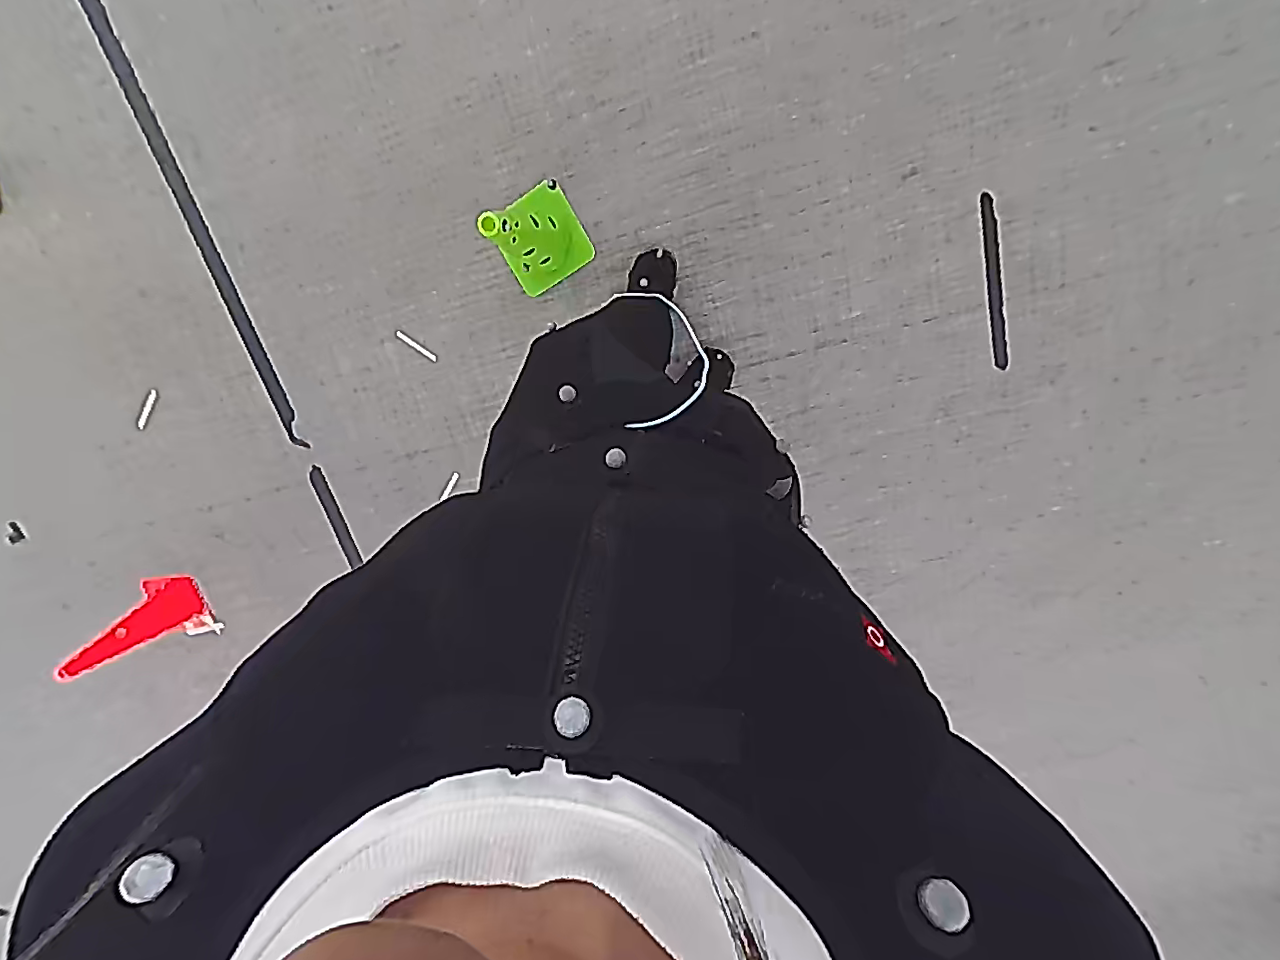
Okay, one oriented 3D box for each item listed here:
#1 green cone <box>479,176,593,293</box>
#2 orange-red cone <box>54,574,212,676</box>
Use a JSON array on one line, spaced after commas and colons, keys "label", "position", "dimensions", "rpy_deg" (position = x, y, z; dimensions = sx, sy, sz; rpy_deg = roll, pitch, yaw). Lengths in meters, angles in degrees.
[{"label": "green cone", "position": [-0.254, -0.514, 1.119], "dimensions": [0.200, 0.368, 0.202], "rpy_deg": [-28, 106, 16]}, {"label": "orange-red cone", "position": [-1.542, 0.456, 1.620], "dimensions": [0.198, 0.360, 0.199], "rpy_deg": [-5, 108, 8]}]
